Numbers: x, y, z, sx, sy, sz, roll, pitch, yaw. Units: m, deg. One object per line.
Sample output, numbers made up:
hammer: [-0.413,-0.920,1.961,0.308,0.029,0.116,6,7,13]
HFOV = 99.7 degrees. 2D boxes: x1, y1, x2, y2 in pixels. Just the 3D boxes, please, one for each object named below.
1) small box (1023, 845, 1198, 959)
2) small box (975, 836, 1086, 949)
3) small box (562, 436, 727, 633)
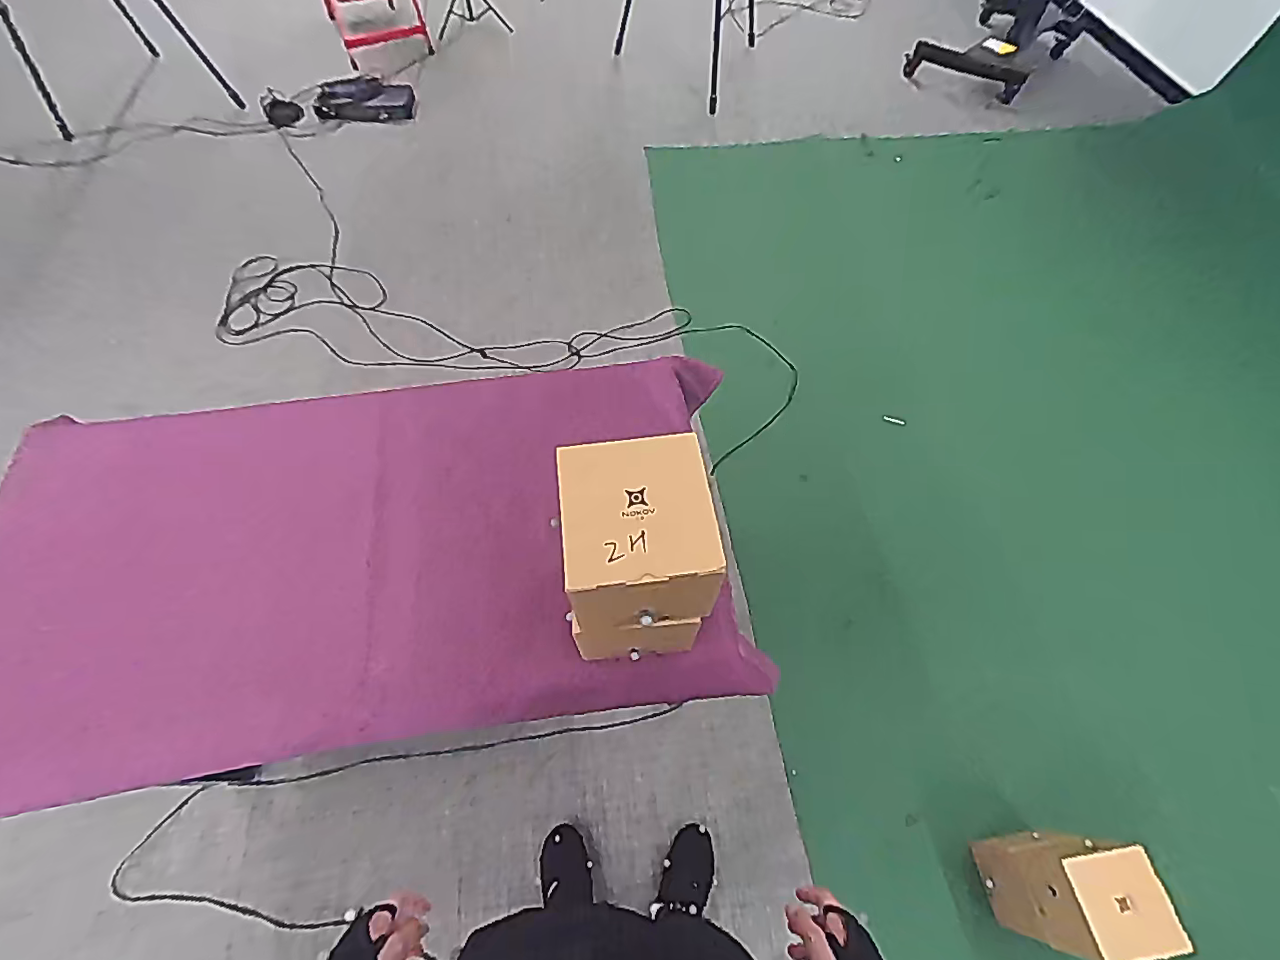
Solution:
small box: [0.911,0.841,1.076,0.179,0.176,0.168,-6,60,-6]
small box: [0.907,0.918,1.218,0.179,0.176,0.168,-7,61,-4]
small box: [-0.001,0.070,0.654,0.168,0.176,0.179,-6,61,-3]
